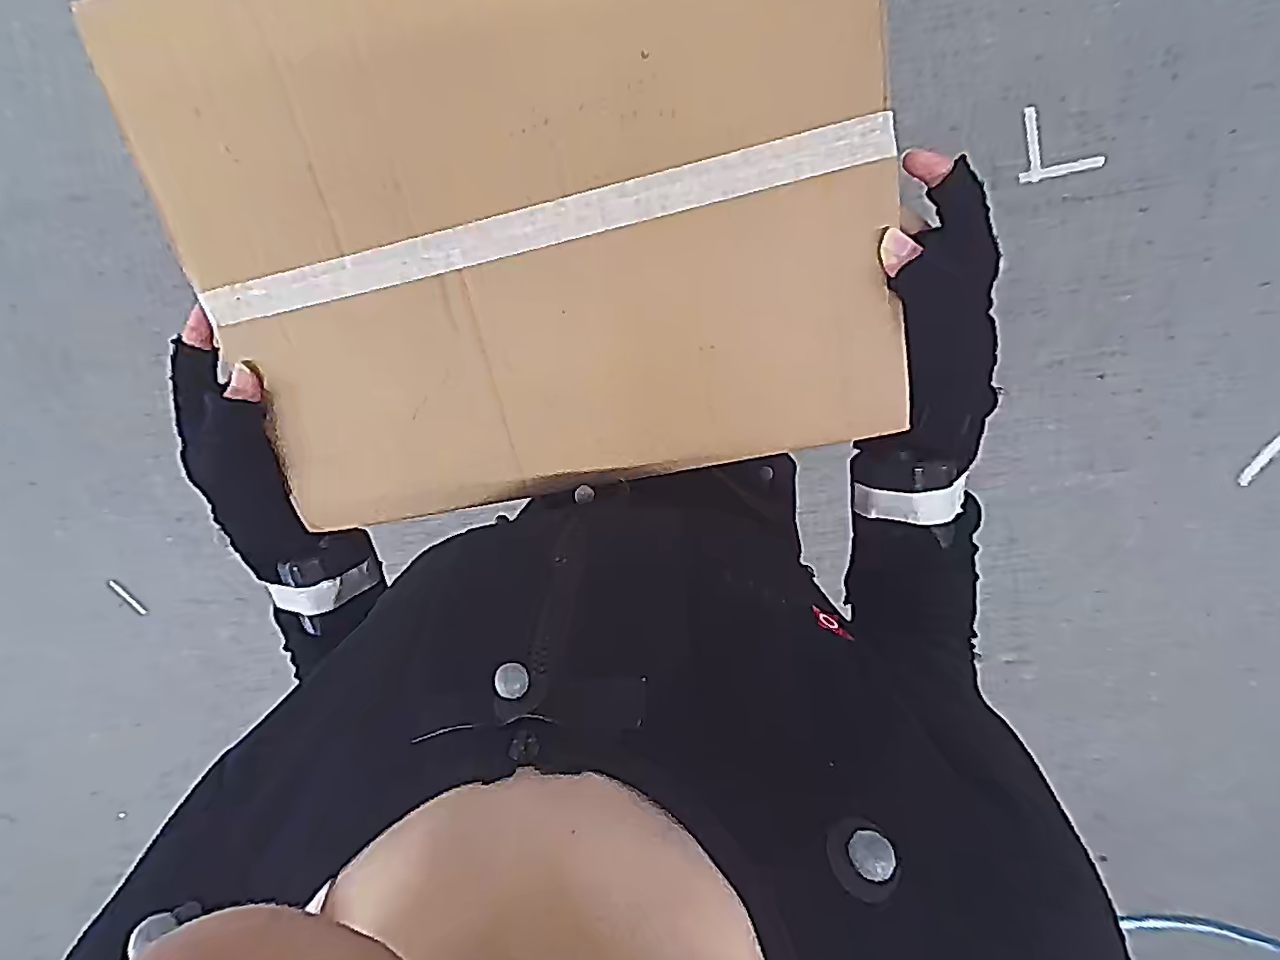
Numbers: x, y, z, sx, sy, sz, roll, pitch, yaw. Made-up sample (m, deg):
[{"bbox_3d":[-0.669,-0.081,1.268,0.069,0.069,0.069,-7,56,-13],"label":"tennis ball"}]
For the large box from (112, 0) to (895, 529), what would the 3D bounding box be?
[{"bbox_3d":[-0.054,-0.192,0.453,0.408,0.320,0.320,-10,108,9],"label":"large box"}]
